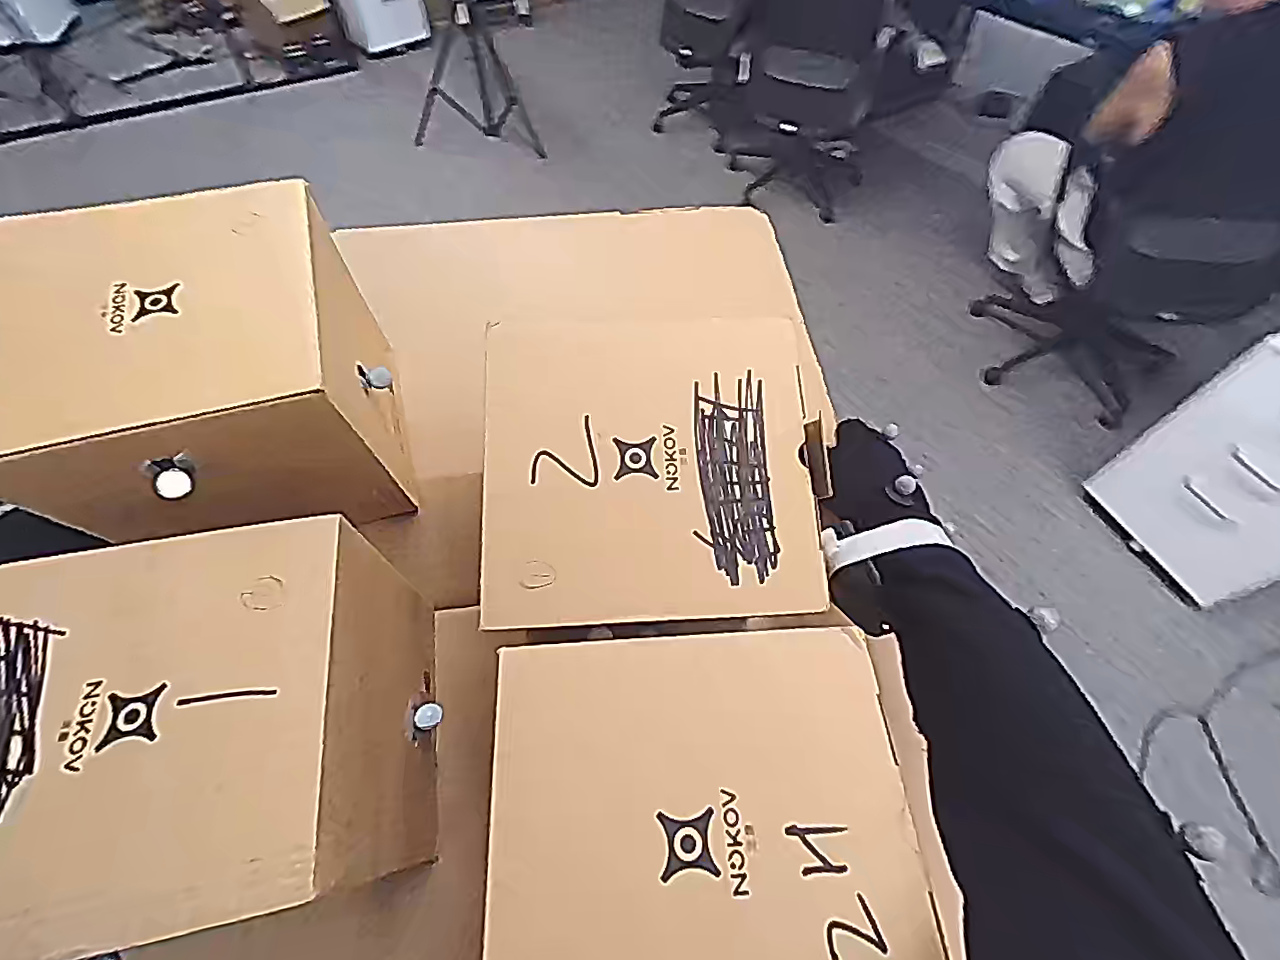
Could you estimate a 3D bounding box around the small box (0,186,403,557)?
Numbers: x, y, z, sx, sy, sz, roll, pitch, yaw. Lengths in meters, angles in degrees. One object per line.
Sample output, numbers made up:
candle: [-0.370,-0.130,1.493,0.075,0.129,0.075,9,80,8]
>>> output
small box: [-0.282,-0.063,0.375,0.179,0.176,0.168,-16,68,-10]
